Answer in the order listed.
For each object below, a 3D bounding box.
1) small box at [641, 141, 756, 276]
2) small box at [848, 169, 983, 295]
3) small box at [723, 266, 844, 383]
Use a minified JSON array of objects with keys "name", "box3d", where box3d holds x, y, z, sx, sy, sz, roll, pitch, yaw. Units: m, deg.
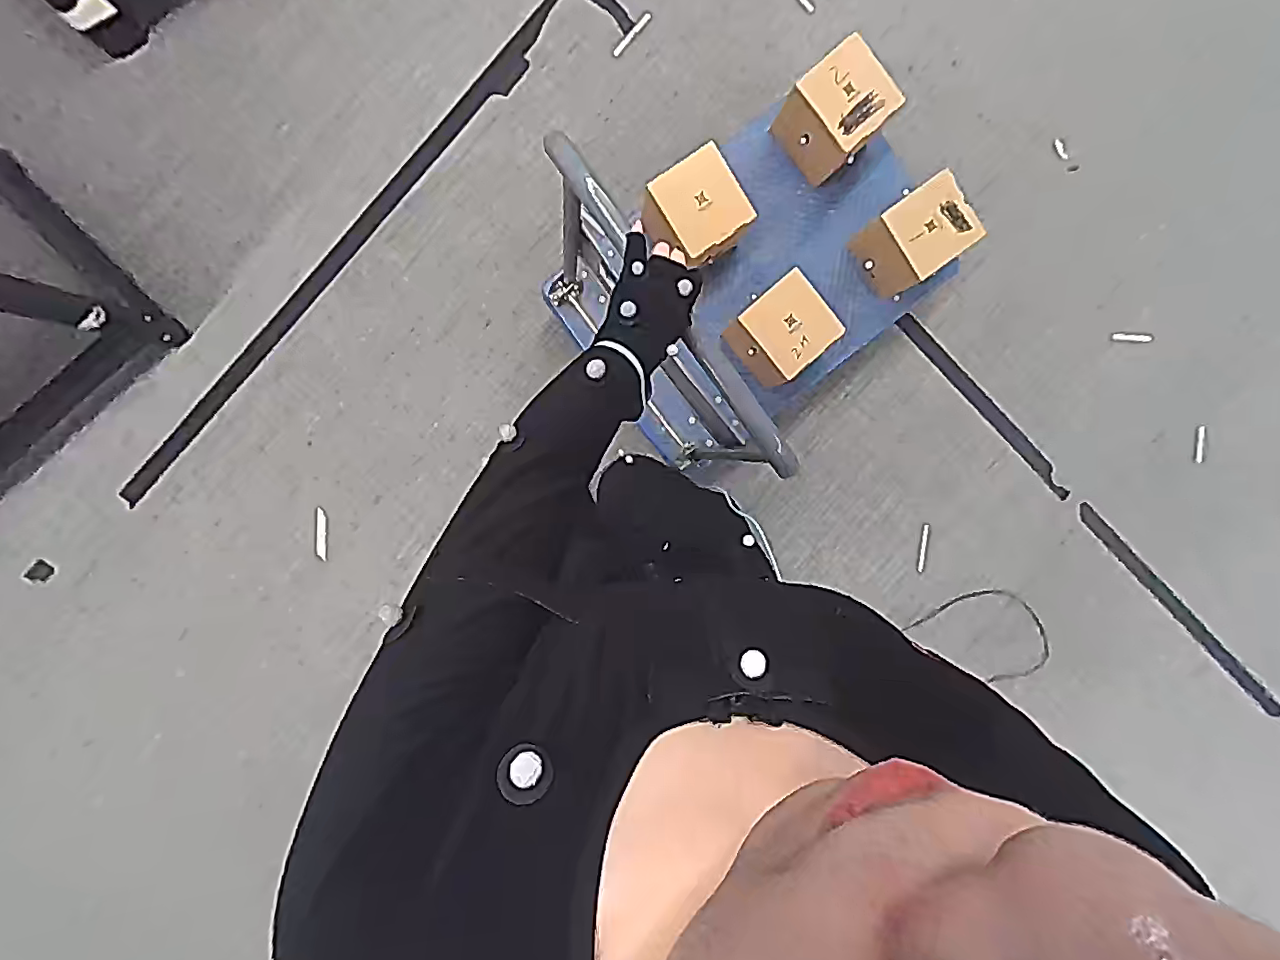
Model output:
[{"name":"small box","box3d":[0.117,-0.576,1.173,0.168,0.176,0.179,-34,99,-2]},{"name":"small box","box3d":[0.610,-0.547,1.217,0.179,0.176,0.168,-36,97,0]},{"name":"small box","box3d":[0.310,-0.336,1.210,0.168,0.176,0.179,-41,97,0]}]
